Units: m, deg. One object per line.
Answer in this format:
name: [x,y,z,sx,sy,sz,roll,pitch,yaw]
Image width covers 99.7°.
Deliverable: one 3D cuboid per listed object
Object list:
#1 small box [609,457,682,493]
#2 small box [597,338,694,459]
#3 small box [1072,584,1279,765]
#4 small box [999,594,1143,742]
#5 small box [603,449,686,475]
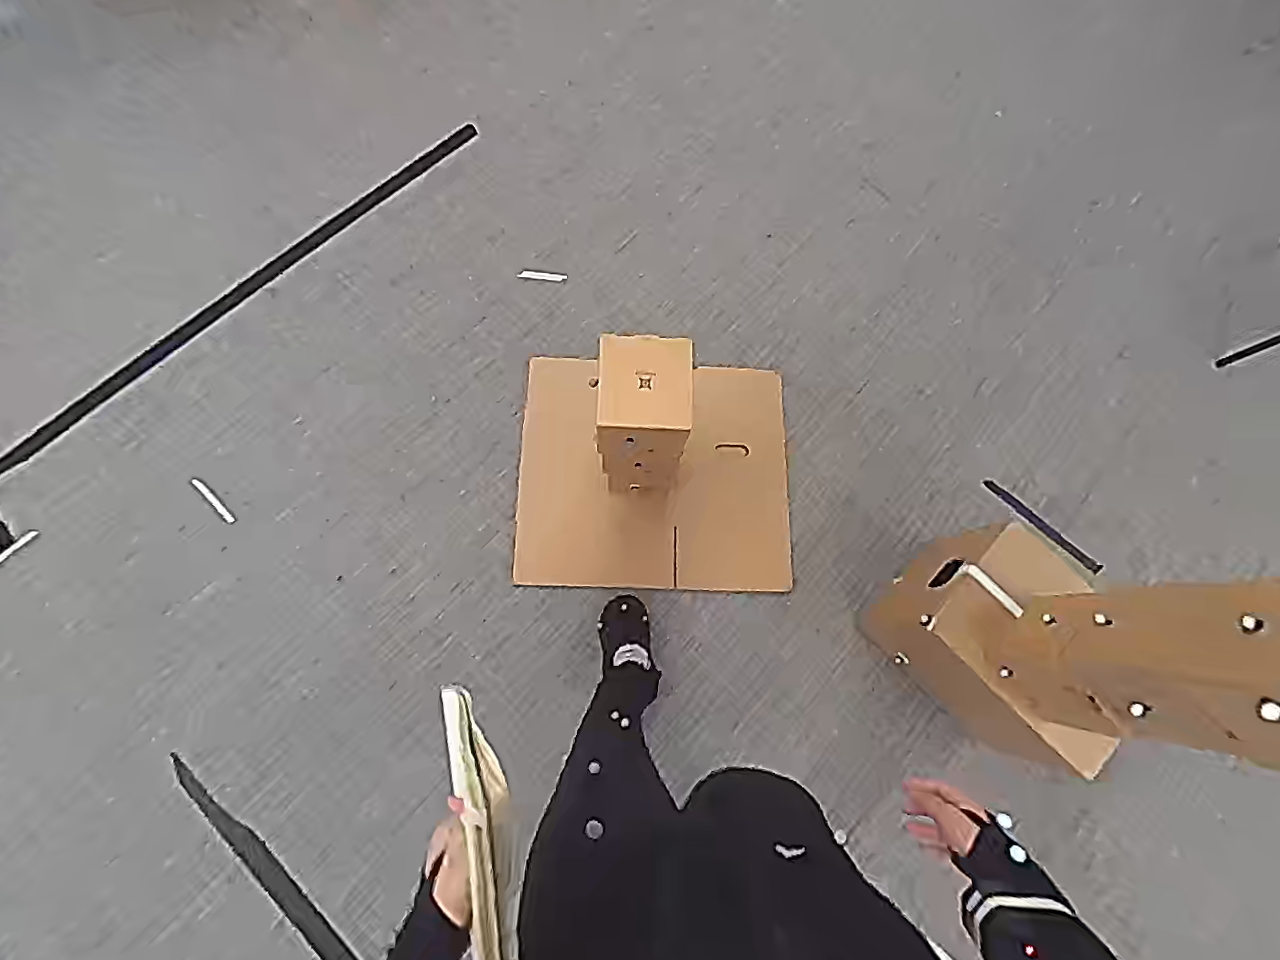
small box: [0.008,-0.073,1.328,0.168,0.176,0.179,-2,77,-4]
small box: [0.009,-0.144,1.008,0.168,0.176,0.179,2,75,-3]
small box: [0.807,0.278,0.807,0.179,0.176,0.168,-43,82,-11]
small box: [0.790,0.325,0.963,0.179,0.176,0.168,-40,81,-13]
small box: [0.005,-0.111,1.167,0.168,0.176,0.179,0,75,-5]
